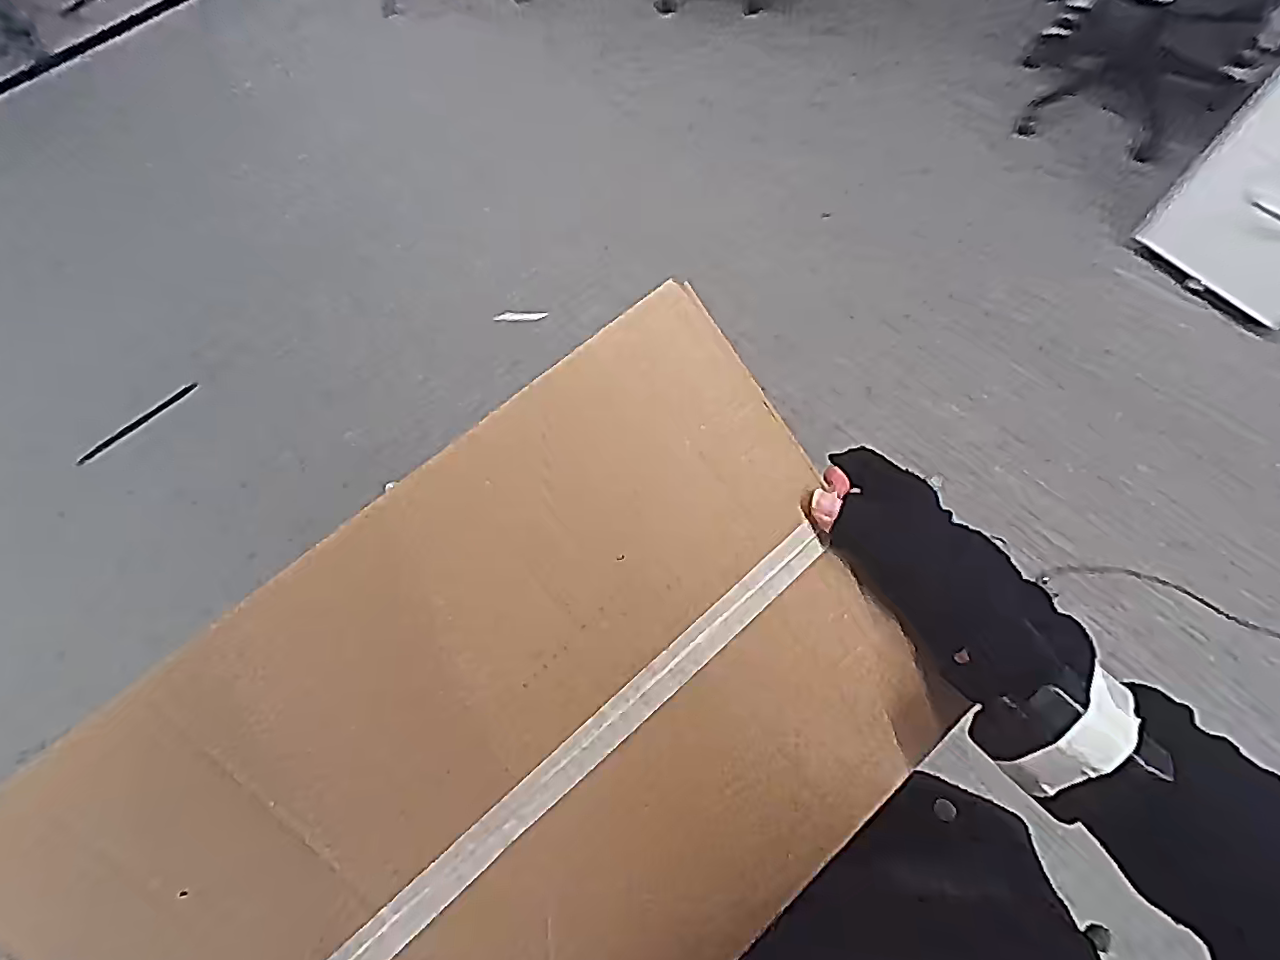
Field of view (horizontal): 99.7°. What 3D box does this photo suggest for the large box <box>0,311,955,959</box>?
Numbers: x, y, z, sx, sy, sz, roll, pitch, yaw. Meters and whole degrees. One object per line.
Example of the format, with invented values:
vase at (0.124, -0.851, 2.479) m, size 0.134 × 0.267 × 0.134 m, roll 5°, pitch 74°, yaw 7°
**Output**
large box at (-0.070, 0.138, 0.430) m, size 0.408 × 0.320 × 0.320 m, roll -39°, pitch 101°, yaw -9°
